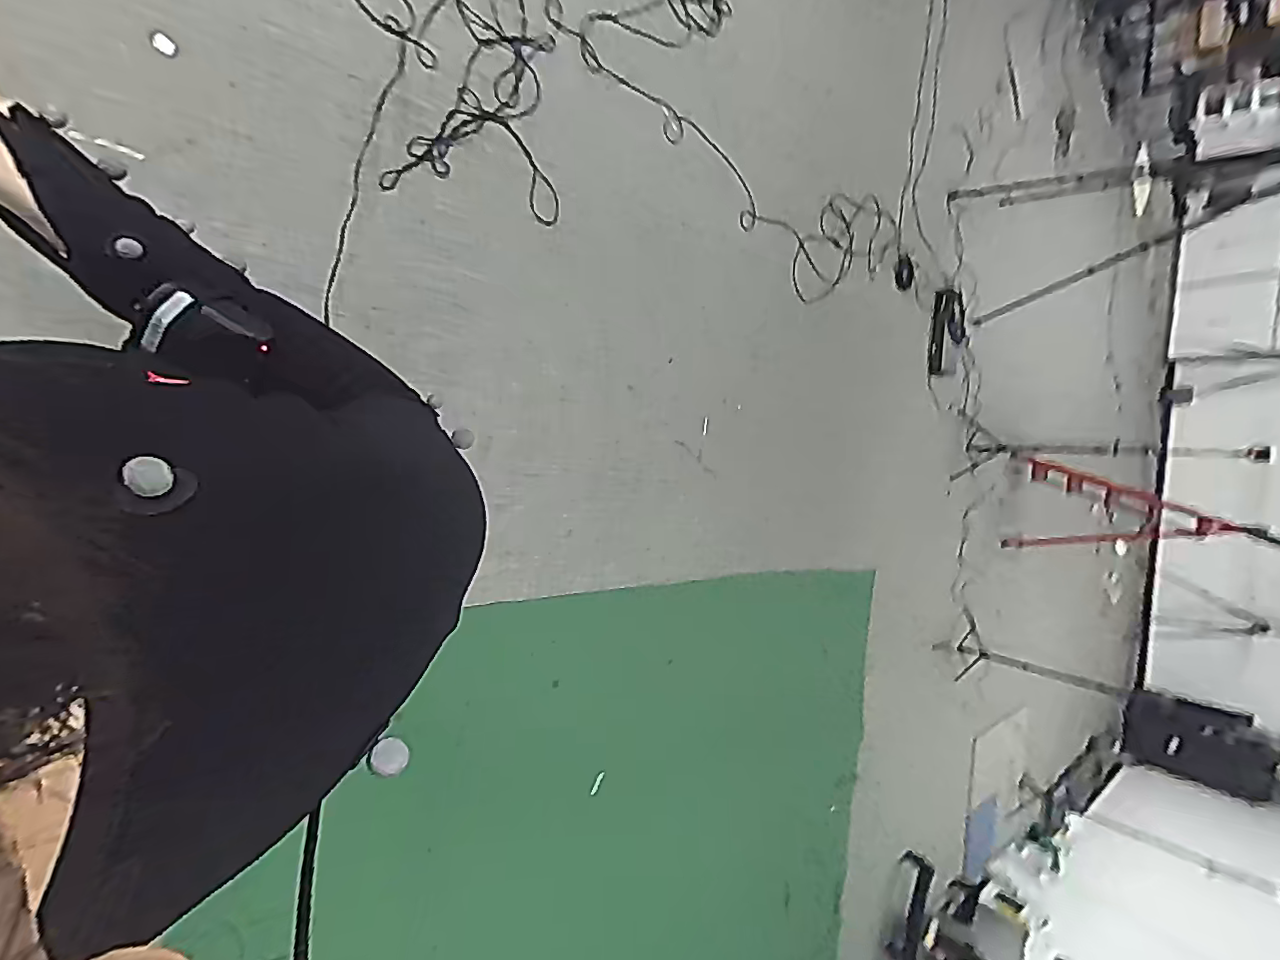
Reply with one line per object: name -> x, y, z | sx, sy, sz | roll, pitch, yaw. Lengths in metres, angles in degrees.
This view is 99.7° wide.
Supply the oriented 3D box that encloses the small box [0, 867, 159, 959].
small box -> -0.858, 0.738, 0.820 | 0.179, 0.176, 0.168 | 8, 89, -39
